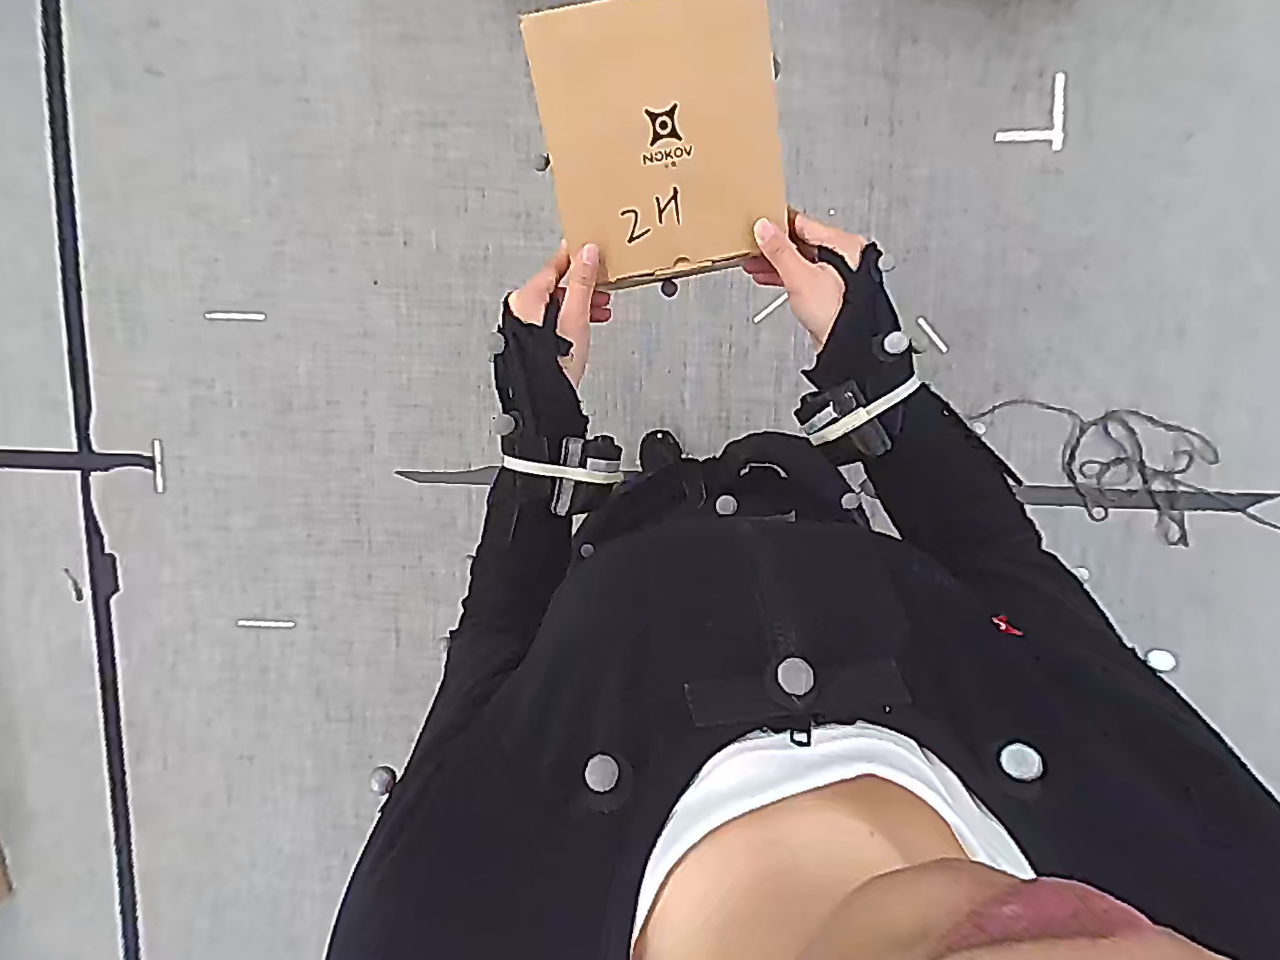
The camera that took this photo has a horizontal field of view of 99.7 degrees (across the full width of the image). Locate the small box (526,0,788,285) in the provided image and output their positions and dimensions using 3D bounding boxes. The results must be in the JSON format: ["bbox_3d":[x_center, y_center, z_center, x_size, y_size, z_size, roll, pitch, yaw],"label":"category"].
[{"bbox_3d":[0.012,-0.272,0.456,0.168,0.176,0.179,-11,108,0],"label":"small box"}]
